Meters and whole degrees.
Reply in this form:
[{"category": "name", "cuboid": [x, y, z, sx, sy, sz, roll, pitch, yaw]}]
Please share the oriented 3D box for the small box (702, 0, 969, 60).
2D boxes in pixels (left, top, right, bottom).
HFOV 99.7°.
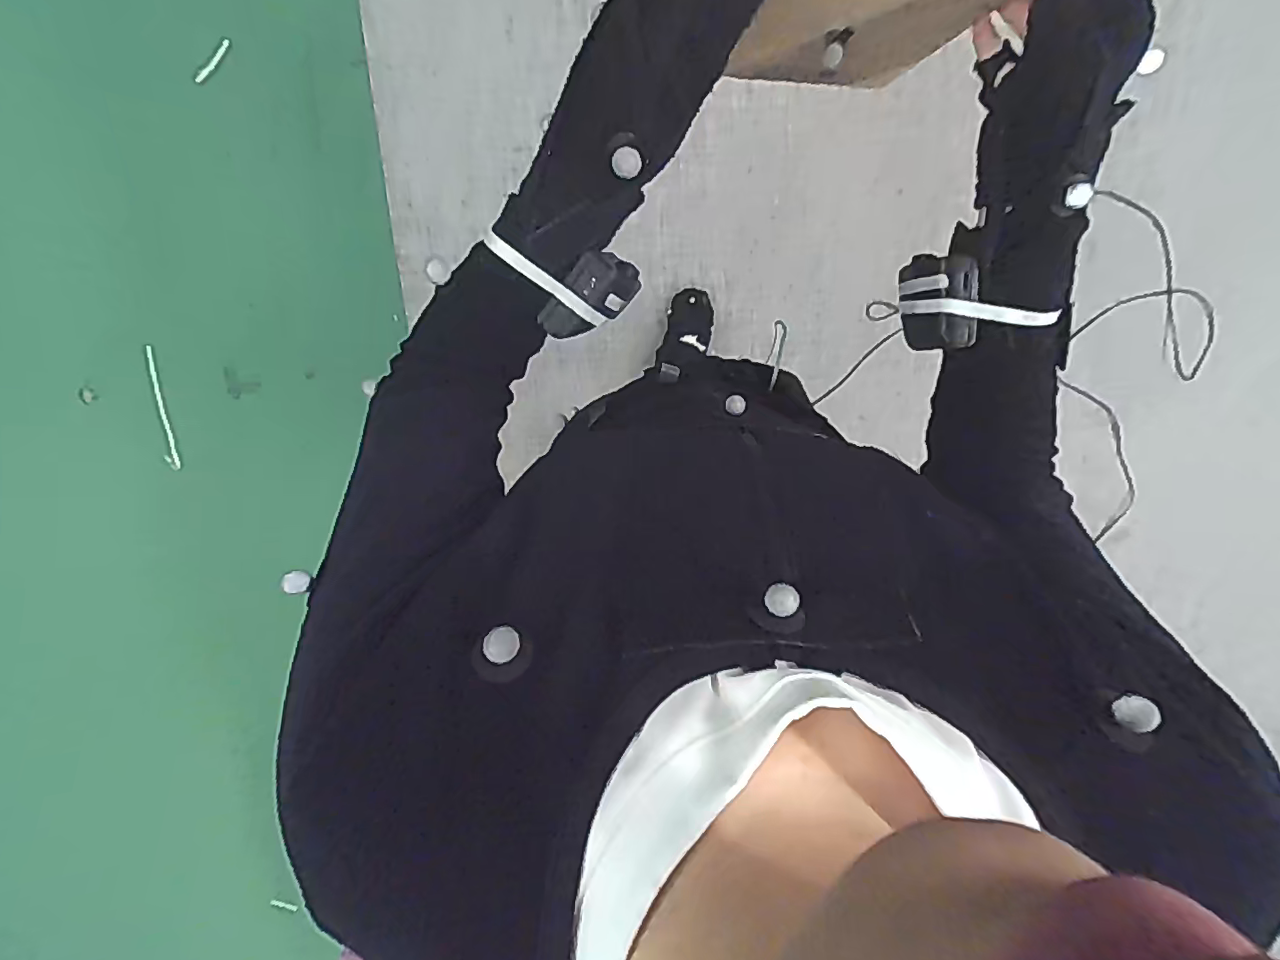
[{"category": "small box", "cuboid": [0.136, -0.384, 0.321, 0.168, 0.176, 0.179, -3, 109, -7]}]
